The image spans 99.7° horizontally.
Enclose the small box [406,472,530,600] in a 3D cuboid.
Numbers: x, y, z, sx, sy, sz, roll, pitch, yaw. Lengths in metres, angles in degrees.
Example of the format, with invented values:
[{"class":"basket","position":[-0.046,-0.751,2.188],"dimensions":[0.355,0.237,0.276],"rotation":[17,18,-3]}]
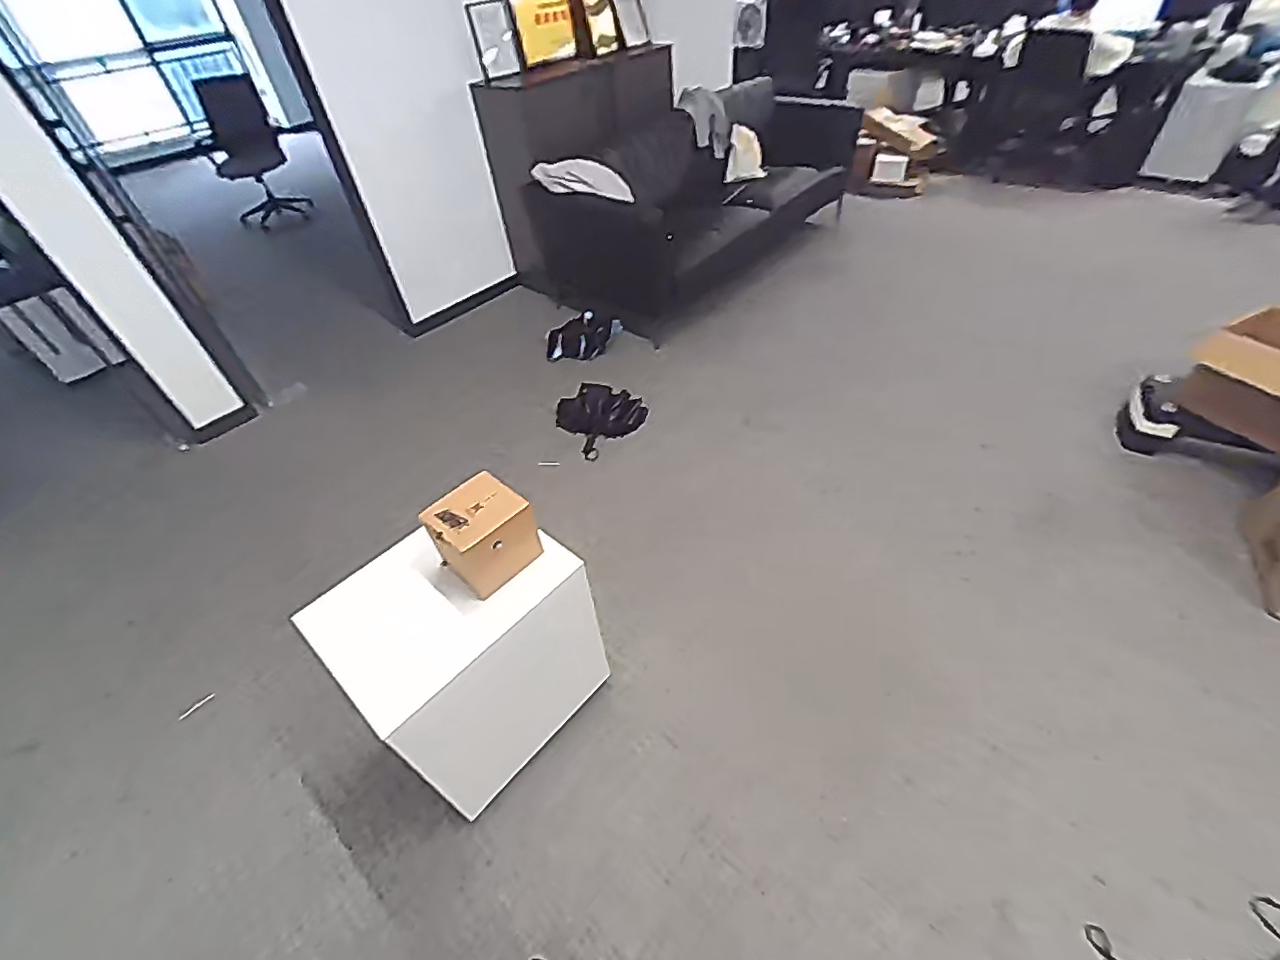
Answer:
[{"class":"small box","position":[-0.359,0.122,1.160],"dimensions":[0.168,0.176,0.179],"rotation":[30,52,29]}]
